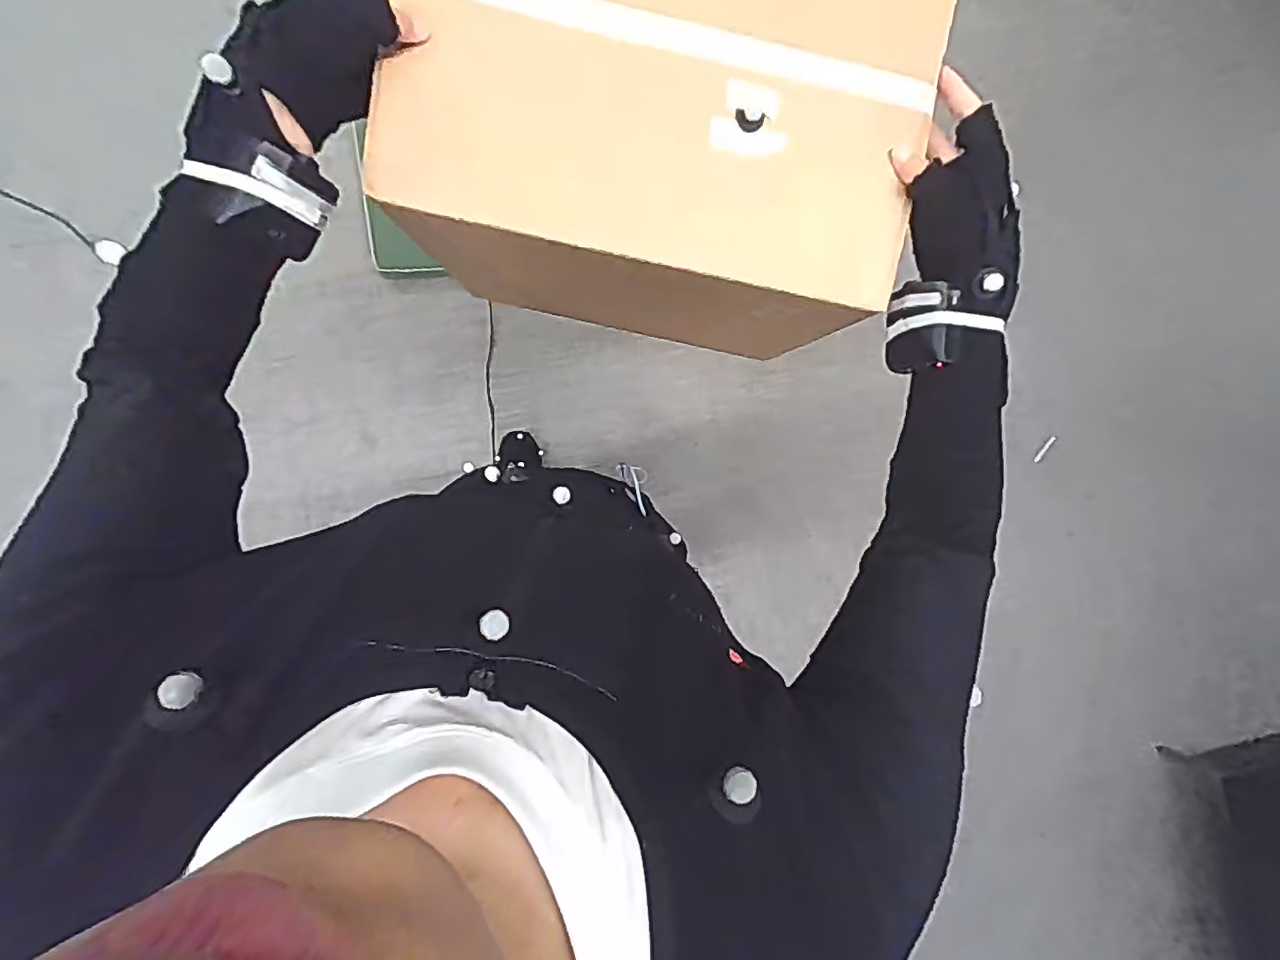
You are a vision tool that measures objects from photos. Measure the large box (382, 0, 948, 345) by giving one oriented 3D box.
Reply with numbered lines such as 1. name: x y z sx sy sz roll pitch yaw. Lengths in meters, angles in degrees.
1. large box: 0.016 -0.345 0.548 0.408 0.320 0.320 10 95 -6
